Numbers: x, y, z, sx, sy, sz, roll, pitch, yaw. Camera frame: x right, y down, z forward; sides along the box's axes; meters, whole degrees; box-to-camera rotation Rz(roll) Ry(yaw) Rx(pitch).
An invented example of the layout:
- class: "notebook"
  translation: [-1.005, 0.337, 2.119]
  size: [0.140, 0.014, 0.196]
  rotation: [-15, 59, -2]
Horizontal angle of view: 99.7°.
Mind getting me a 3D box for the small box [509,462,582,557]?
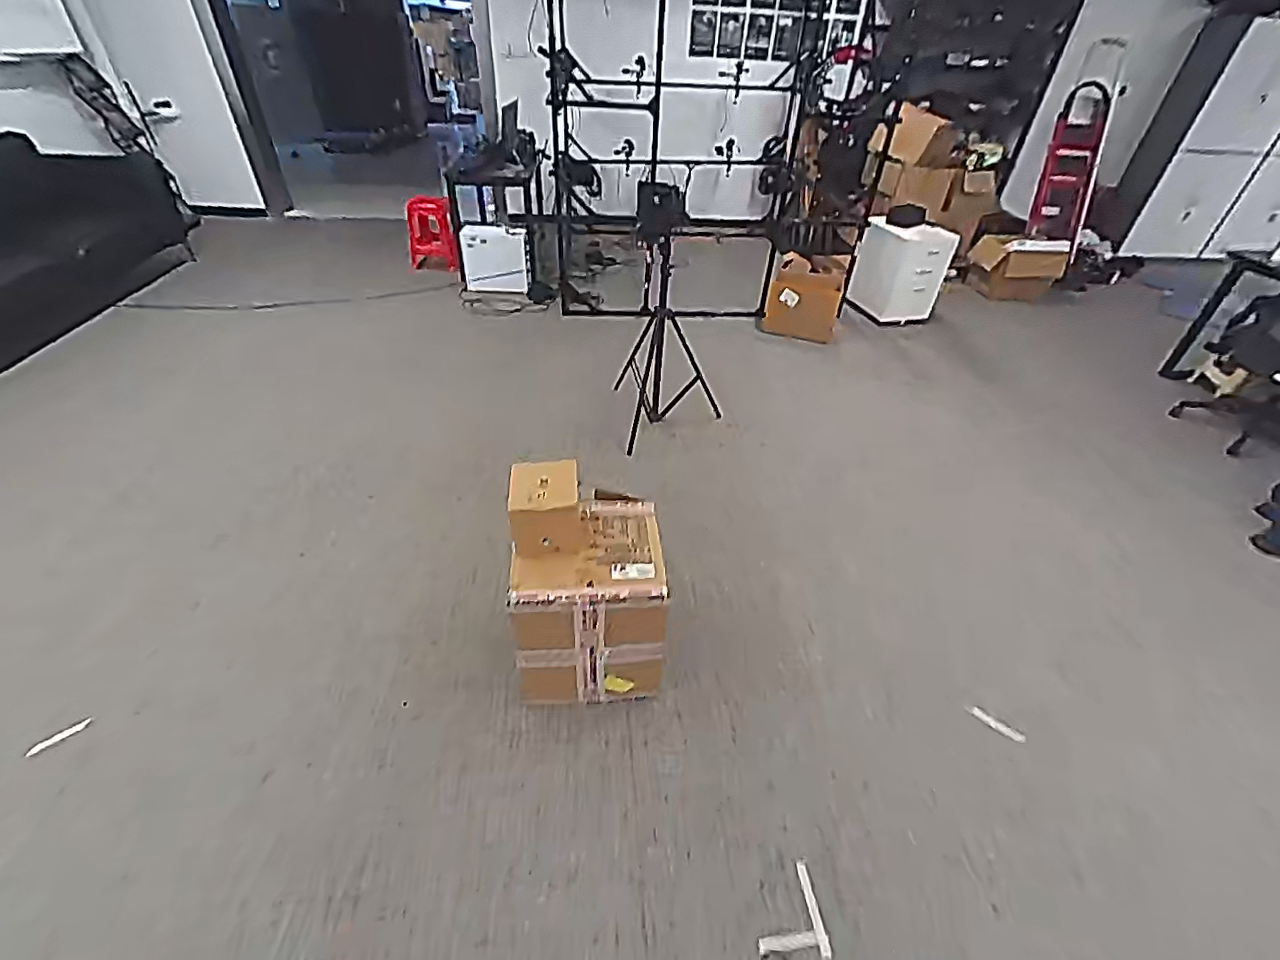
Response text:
- class: "small box"
  translation: [-0.237, 0.075, 1.392]
  size: [0.168, 0.176, 0.179]
  rotation: [-4, 42, -5]
